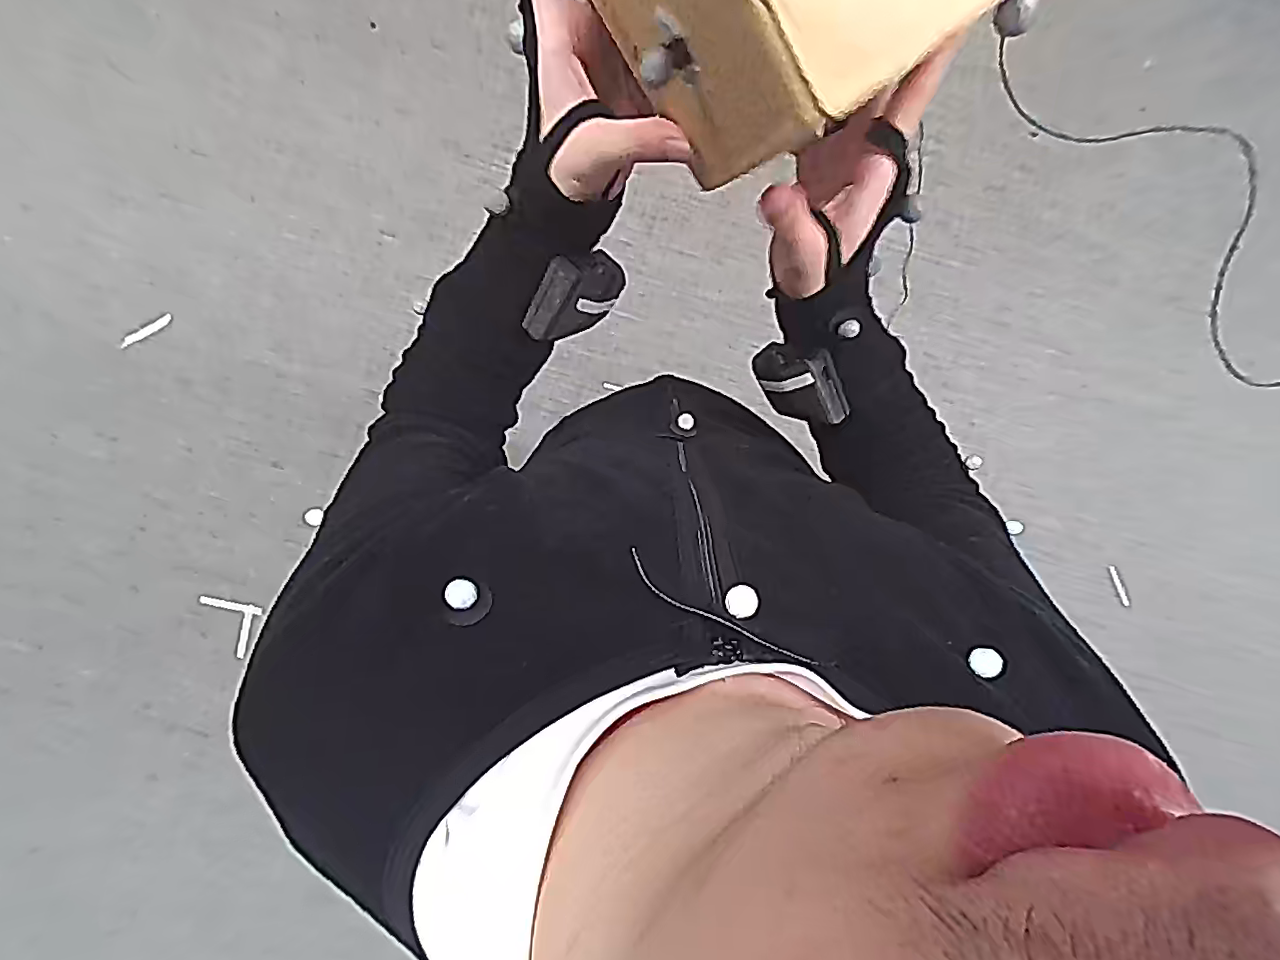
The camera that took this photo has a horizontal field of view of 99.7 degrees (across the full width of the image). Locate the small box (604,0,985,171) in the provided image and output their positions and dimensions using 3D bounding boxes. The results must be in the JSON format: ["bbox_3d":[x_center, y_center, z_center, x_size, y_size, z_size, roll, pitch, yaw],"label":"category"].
[{"bbox_3d":[0.063,-0.237,0.182,0.179,0.176,0.168,-36,113,10],"label":"small box"}]
